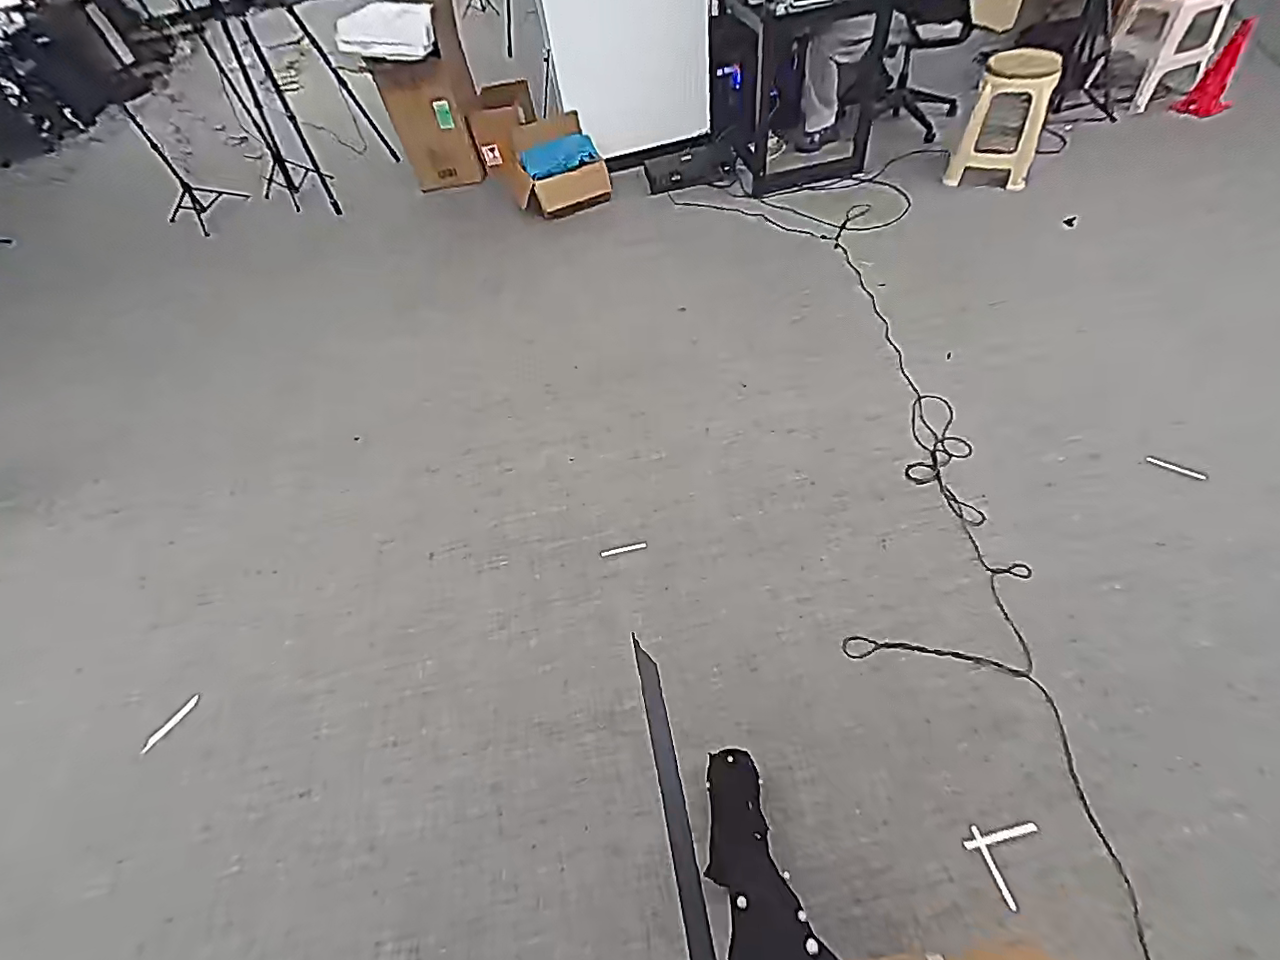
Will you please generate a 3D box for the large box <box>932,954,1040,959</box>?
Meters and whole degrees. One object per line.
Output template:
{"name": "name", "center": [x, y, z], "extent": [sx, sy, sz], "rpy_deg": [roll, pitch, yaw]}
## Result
{"name": "large box", "center": [0.421, 0.792, 0.548], "extent": [0.320, 0.408, 0.320], "rpy_deg": [-6, 75, 2]}
